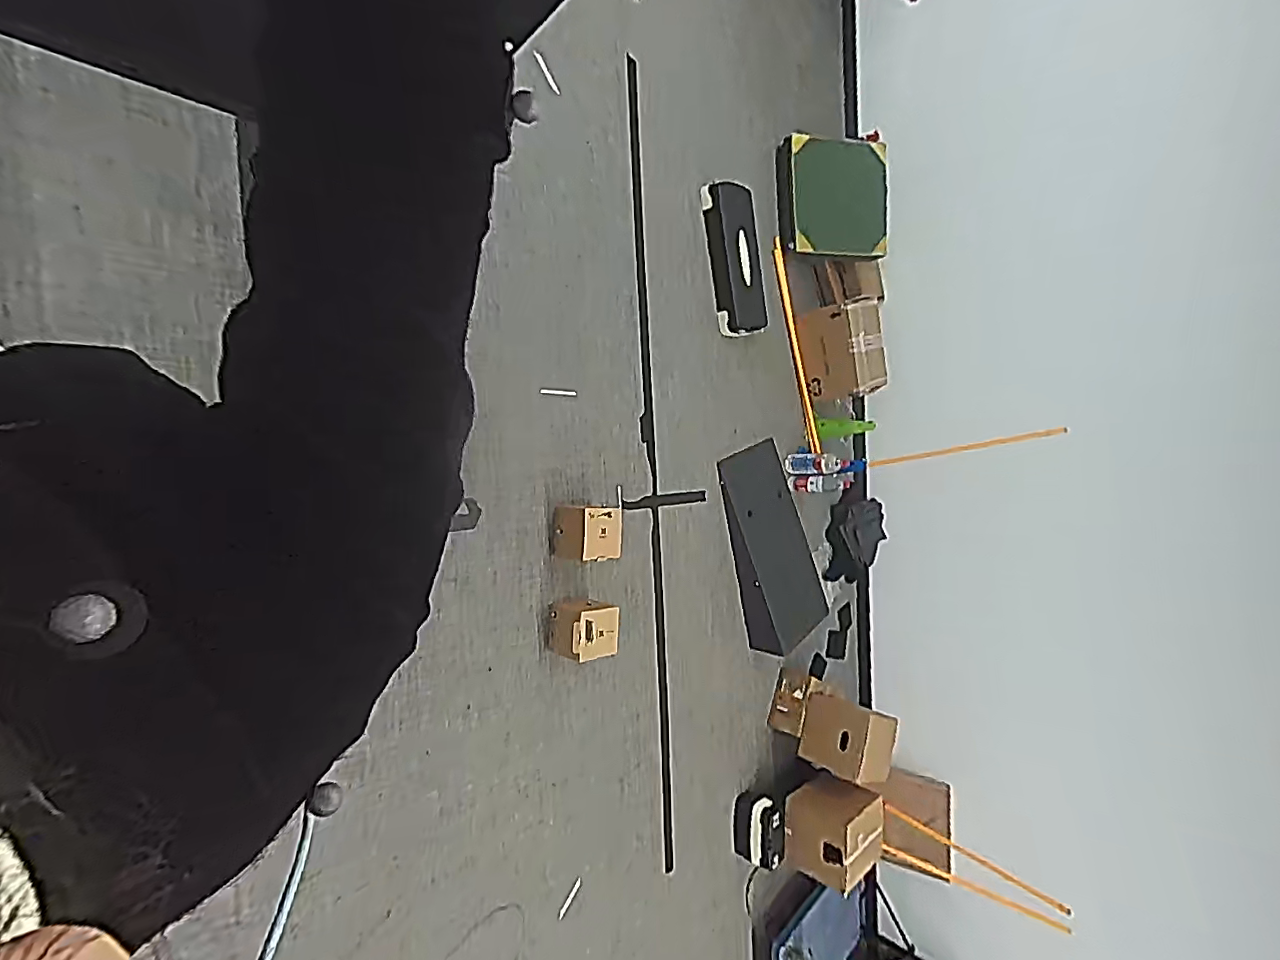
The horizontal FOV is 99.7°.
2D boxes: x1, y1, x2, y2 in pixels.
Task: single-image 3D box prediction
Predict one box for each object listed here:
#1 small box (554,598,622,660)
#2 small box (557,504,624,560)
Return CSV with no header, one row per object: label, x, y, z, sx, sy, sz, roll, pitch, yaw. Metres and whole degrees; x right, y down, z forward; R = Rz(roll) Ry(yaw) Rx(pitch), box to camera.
small box,-0.182,0.509,1.864,0.179,0.176,0.168,3,88,-45
small box,-0.174,0.176,1.868,0.168,0.176,0.179,3,89,-45
